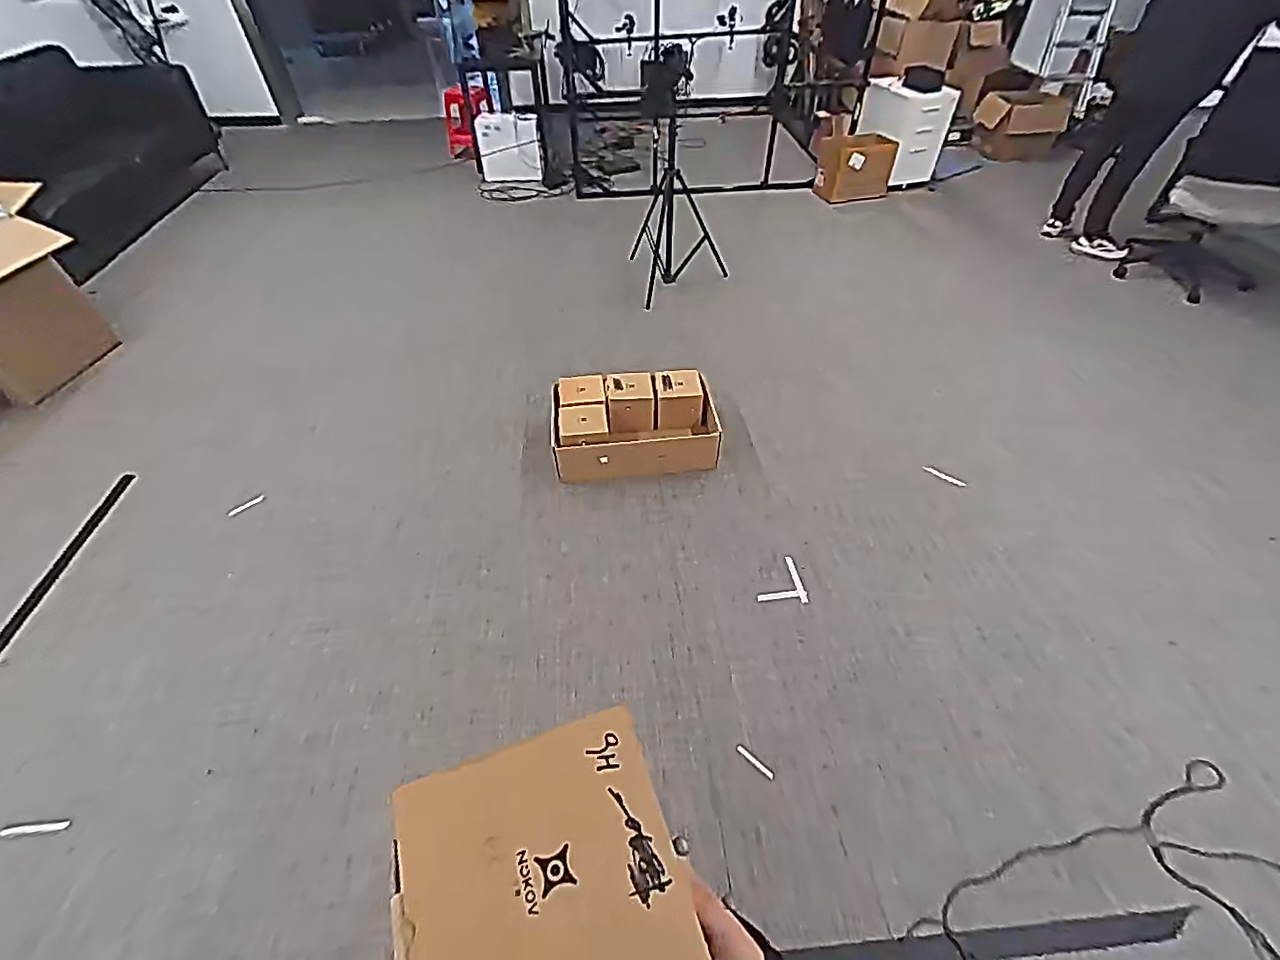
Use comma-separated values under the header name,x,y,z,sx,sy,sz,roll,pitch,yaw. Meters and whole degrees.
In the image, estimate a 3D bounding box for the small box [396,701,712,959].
name,x,y,z,sx,sy,sz,roll,pitch,yaw
small box,-0.066,0.299,0.416,0.179,0.176,0.168,-14,57,-15
